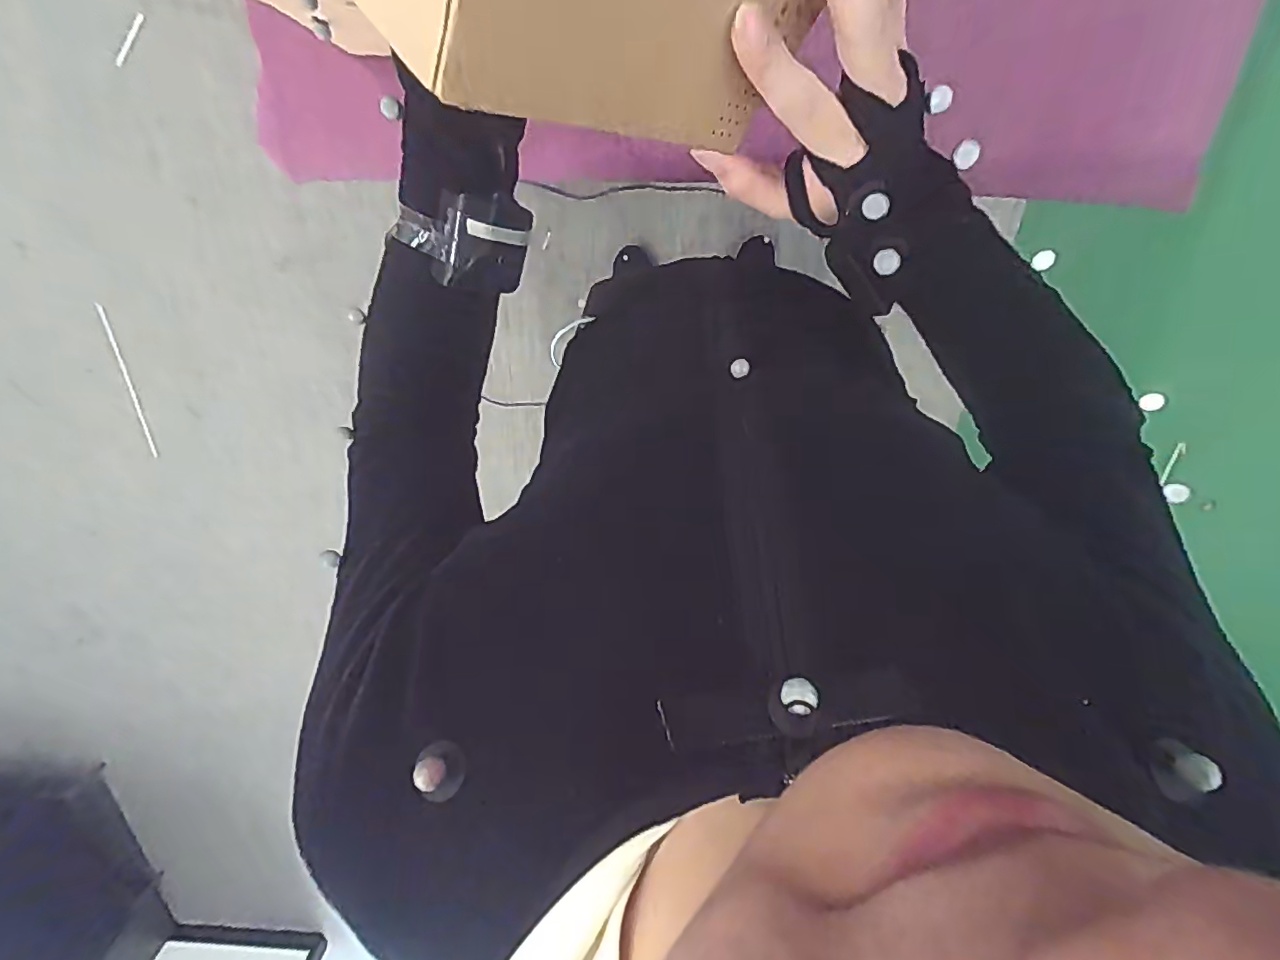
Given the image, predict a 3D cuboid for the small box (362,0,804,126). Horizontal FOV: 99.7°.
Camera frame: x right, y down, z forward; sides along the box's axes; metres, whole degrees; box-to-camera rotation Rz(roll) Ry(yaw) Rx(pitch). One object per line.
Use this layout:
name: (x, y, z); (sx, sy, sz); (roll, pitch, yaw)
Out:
small box: (-0.018, -0.256, 0.187); (0.179, 0.176, 0.168); (55, 138, 11)
